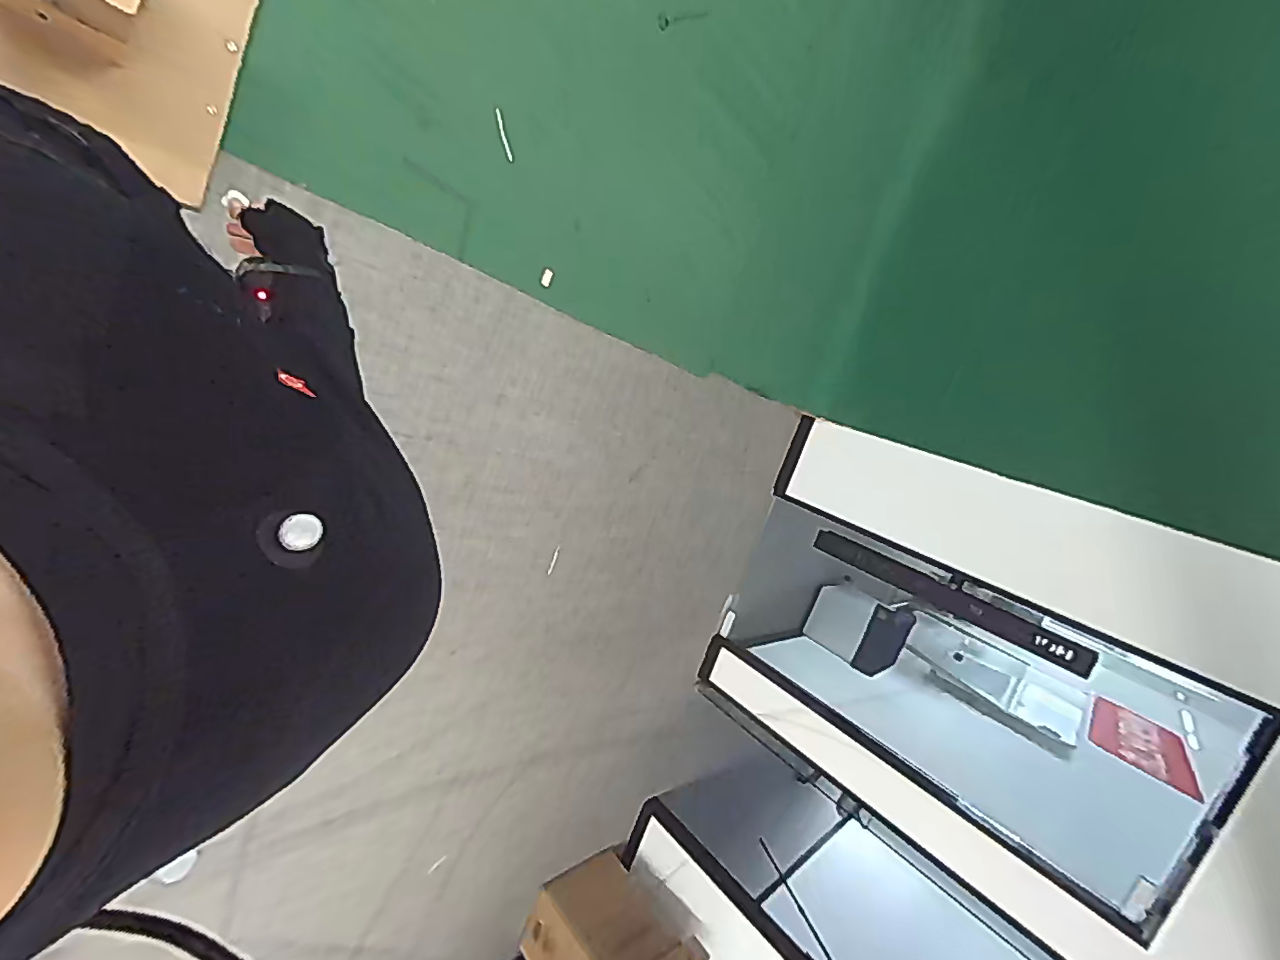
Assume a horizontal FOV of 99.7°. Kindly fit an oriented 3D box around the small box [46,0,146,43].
[{"bbox_3d":[-0.747,-0.728,0.706,0.168,0.176,0.179,15,99,-48],"label":"small box"}]

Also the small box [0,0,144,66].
[{"bbox_3d":[-0.864,-0.775,0.816,0.168,0.176,0.179,11,103,-48],"label":"small box"}]
